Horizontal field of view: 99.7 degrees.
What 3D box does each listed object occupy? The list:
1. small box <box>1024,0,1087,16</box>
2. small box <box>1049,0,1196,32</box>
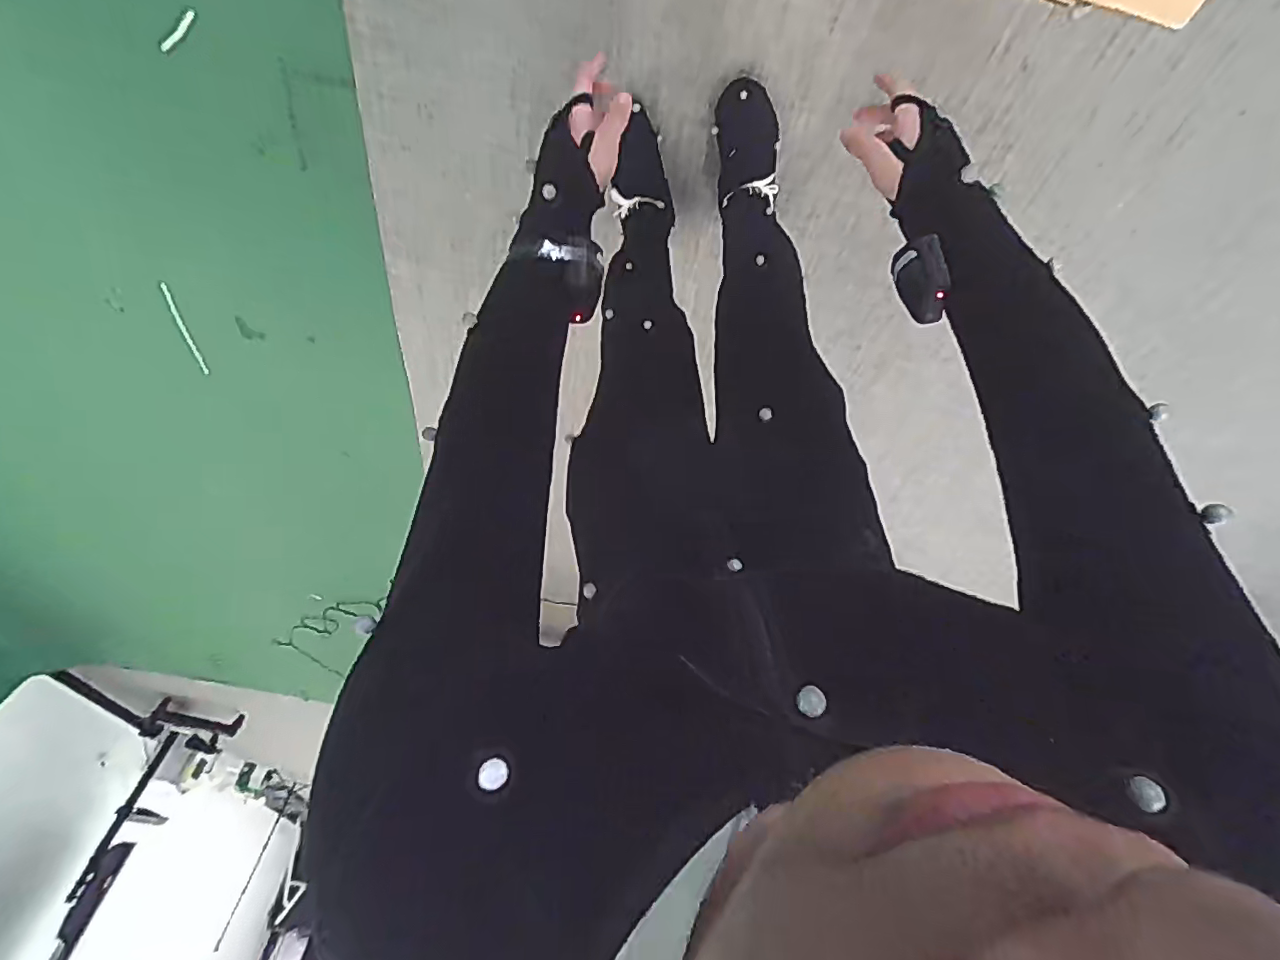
[{"bbox_3d":[0.514,-0.723,0.675,0.168,0.176,0.179,13,136,-5],"label":"small box"},{"bbox_3d":[0.507,-0.605,0.563,0.179,0.176,0.168,12,136,-4],"label":"small box"}]
